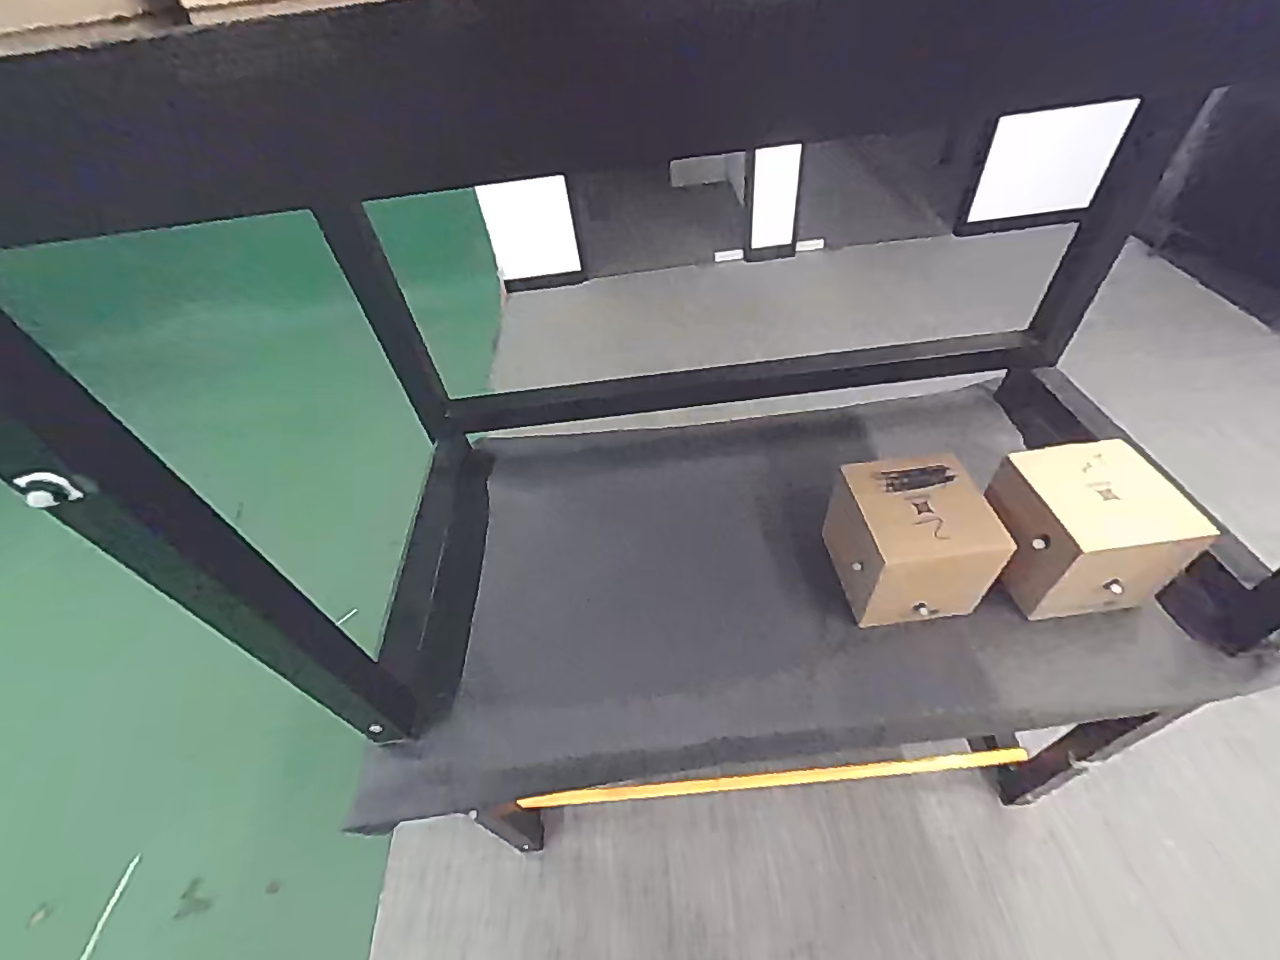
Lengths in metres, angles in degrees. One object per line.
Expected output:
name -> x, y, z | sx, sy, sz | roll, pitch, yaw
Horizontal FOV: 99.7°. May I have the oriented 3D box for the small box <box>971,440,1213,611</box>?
small box -> 0.613, 0.071, 0.766 | 0.168, 0.176, 0.179 | -8, 46, 1
